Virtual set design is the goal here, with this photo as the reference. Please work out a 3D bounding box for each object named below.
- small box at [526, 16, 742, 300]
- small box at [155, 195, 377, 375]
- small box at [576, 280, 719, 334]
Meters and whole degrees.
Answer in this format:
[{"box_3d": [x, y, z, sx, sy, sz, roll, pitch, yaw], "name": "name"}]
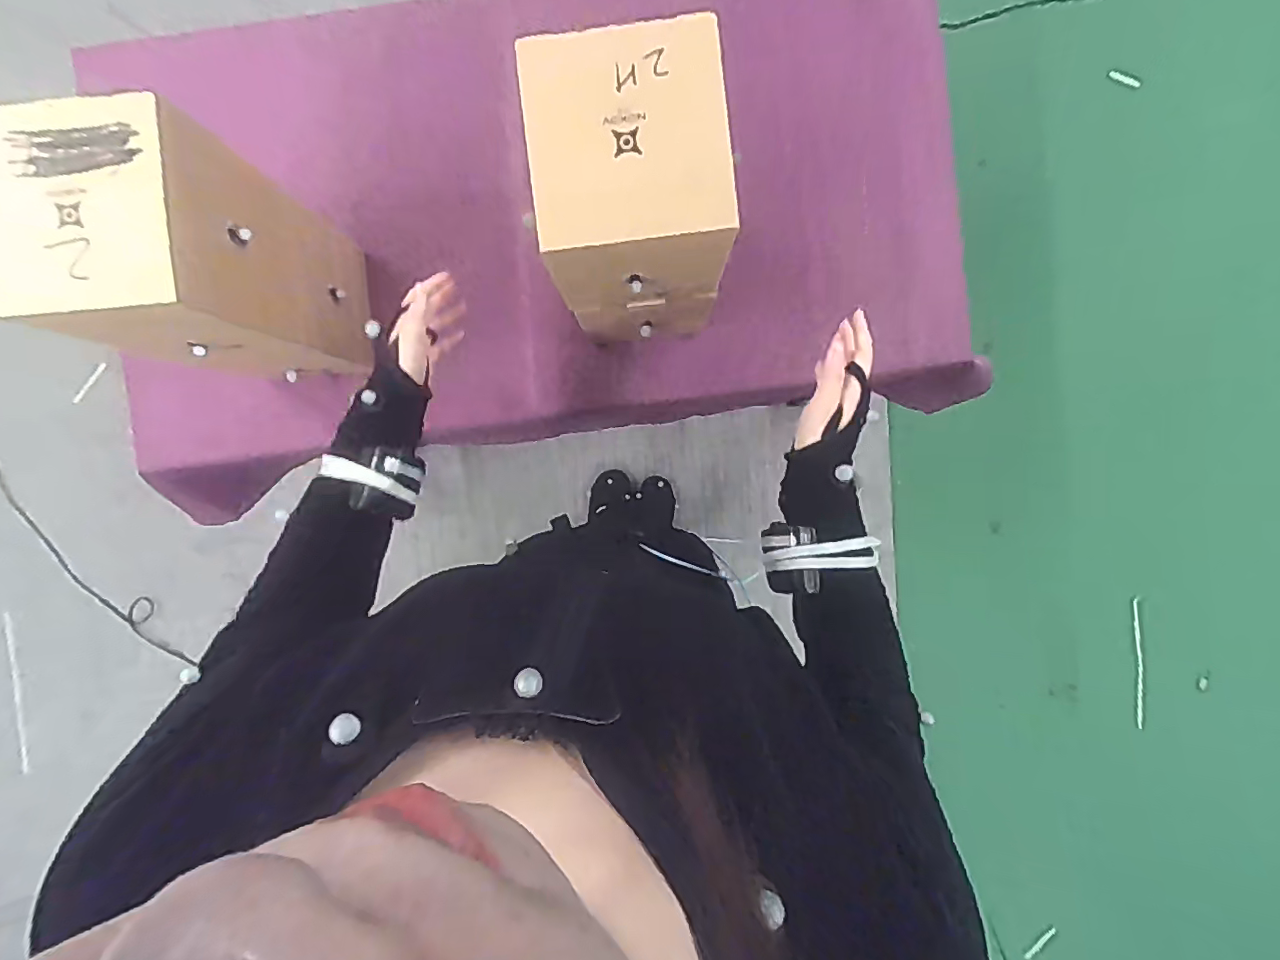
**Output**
[{"box_3d": [-0.002, -0.282, 0.519, 0.168, 0.176, 0.179, -6, 92, 1], "name": "small box"}, {"box_3d": [-0.461, -0.237, 0.694, 0.168, 0.176, 0.179, -3, 94, 0], "name": "small box"}, {"box_3d": [0.004, -0.289, 0.685, 0.168, 0.176, 0.179, -6, 93, 1], "name": "small box"}]
